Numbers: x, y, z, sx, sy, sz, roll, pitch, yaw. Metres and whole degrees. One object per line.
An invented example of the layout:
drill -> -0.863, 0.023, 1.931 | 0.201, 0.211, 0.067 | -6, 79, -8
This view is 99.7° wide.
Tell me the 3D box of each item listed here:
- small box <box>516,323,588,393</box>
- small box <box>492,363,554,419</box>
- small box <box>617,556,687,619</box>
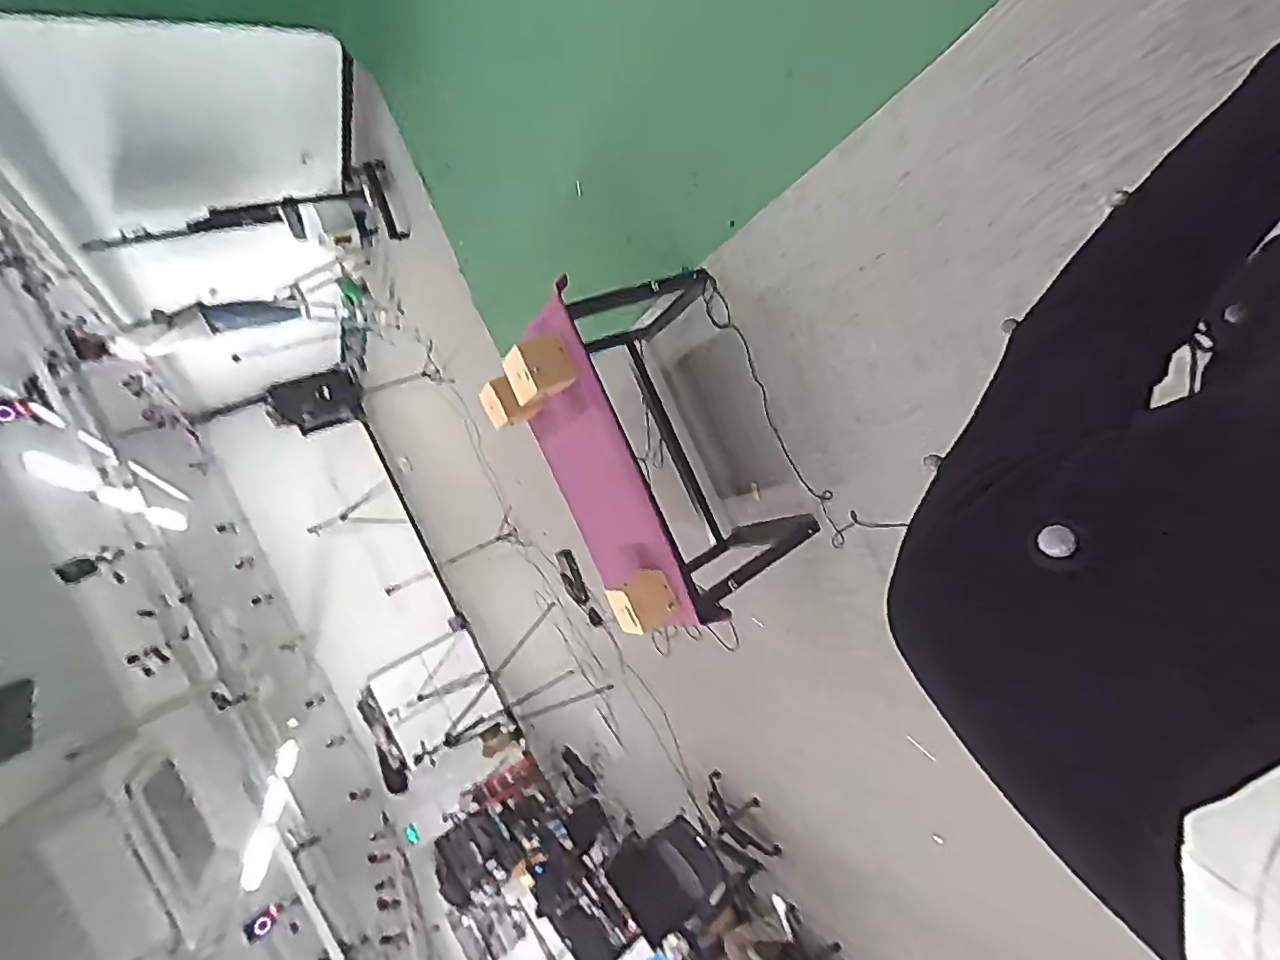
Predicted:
small box -> -0.304, -0.424, 1.882 | 0.179, 0.176, 0.168 | -17, 100, 60
small box -> -0.470, -0.370, 2.191 | 0.179, 0.176, 0.168 | -21, 97, 60
small box -> 0.048, 0.384, 1.958 | 0.179, 0.176, 0.168 | -19, 96, 63
